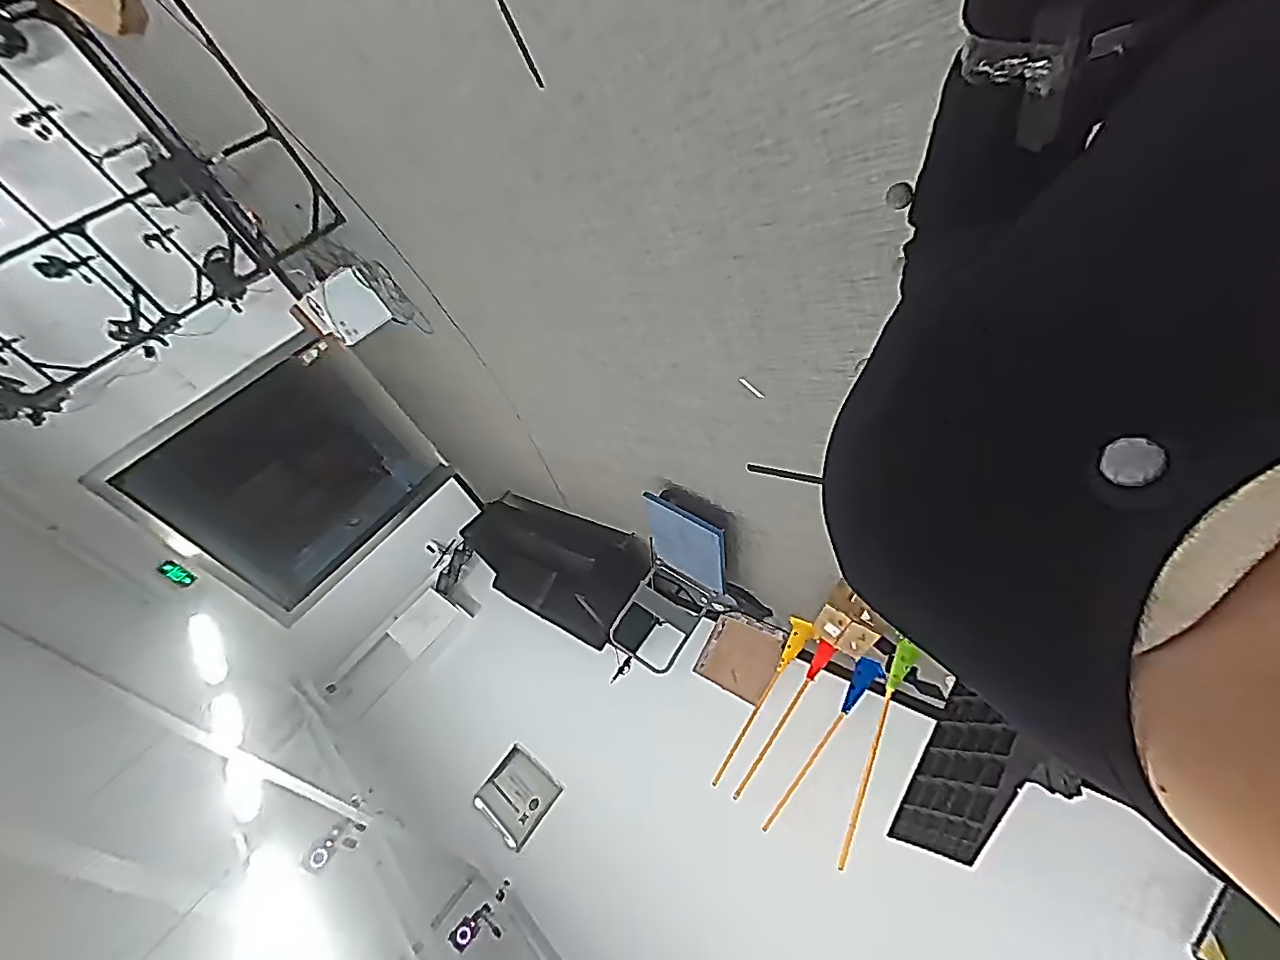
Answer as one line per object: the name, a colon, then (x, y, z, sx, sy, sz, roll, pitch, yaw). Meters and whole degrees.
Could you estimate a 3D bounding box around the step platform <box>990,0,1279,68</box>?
step platform: (0.892, -0.835, 0.751, 0.684, 0.204, 0.286, 20, 148, 42)
